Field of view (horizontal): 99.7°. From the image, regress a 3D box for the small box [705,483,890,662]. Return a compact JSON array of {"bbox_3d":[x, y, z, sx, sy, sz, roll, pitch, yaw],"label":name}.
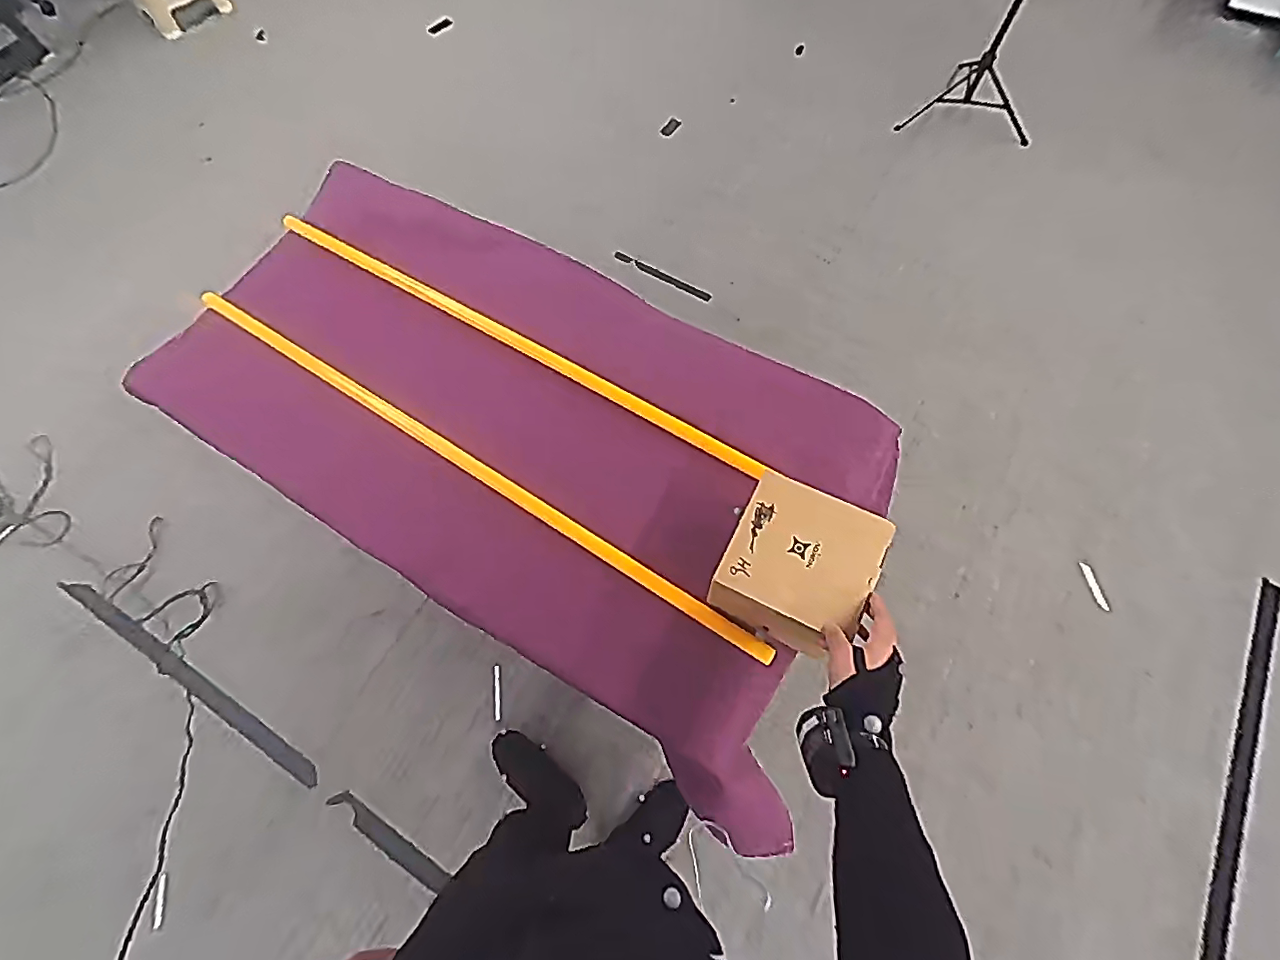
[{"bbox_3d":[0.203,0.134,0.740,0.179,0.176,0.168,26,72,14],"label":"small box"}]
